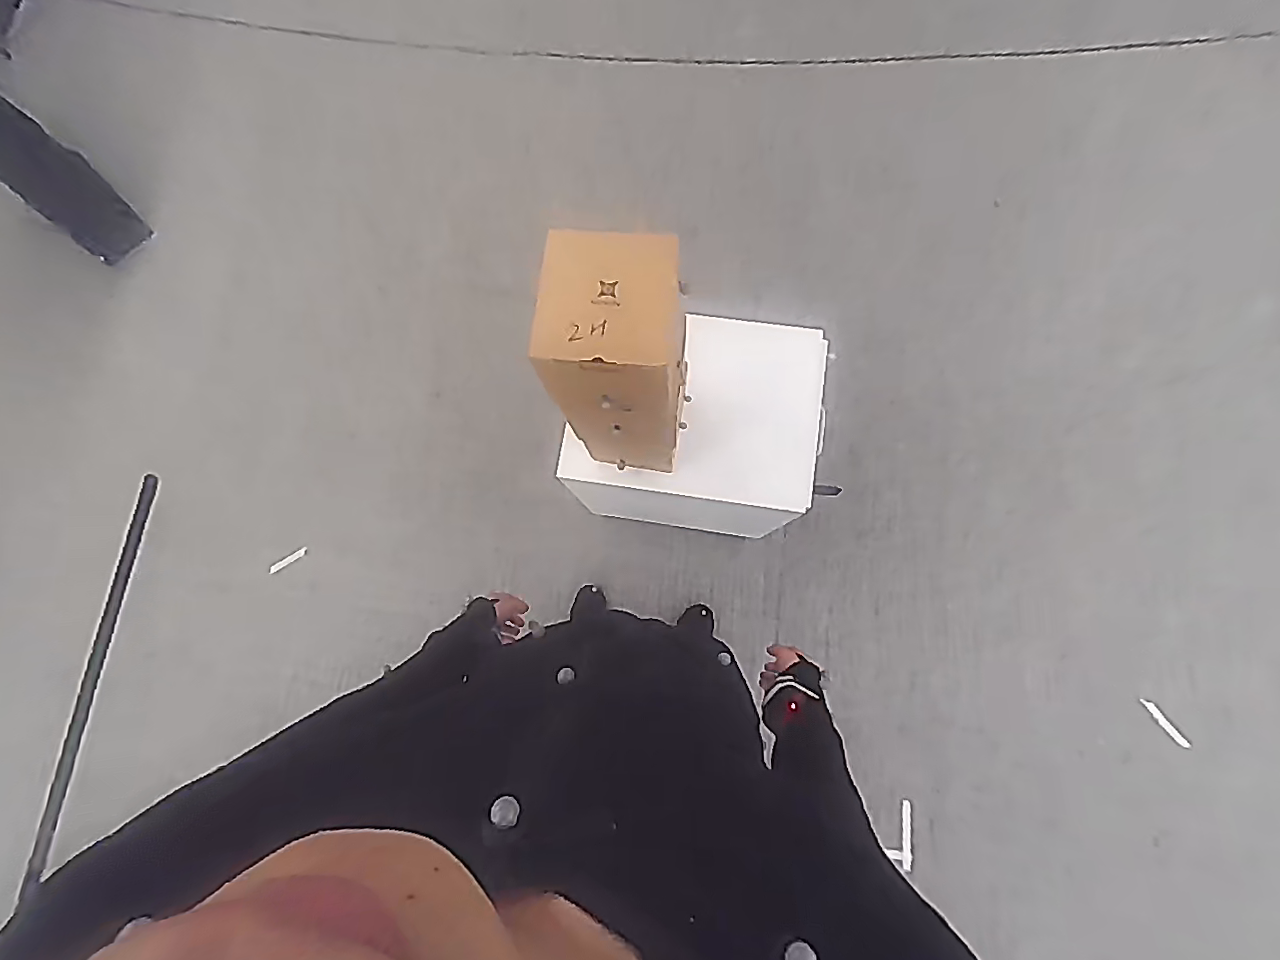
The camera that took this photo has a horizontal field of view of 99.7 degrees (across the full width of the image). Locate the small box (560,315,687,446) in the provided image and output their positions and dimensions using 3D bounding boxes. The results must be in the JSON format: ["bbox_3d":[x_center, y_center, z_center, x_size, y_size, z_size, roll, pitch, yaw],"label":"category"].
[{"bbox_3d":[-0.019,-0.158,0.875,0.179,0.176,0.168,5,78,5],"label":"small box"}]

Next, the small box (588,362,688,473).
[{"bbox_3d":[-0.005,-0.125,1.036,0.168,0.176,0.179,9,79,5],"label":"small box"}]

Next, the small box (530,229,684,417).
[{"bbox_3d":[-0.034,-0.199,0.716,0.168,0.176,0.179,5,78,5],"label":"small box"}]
